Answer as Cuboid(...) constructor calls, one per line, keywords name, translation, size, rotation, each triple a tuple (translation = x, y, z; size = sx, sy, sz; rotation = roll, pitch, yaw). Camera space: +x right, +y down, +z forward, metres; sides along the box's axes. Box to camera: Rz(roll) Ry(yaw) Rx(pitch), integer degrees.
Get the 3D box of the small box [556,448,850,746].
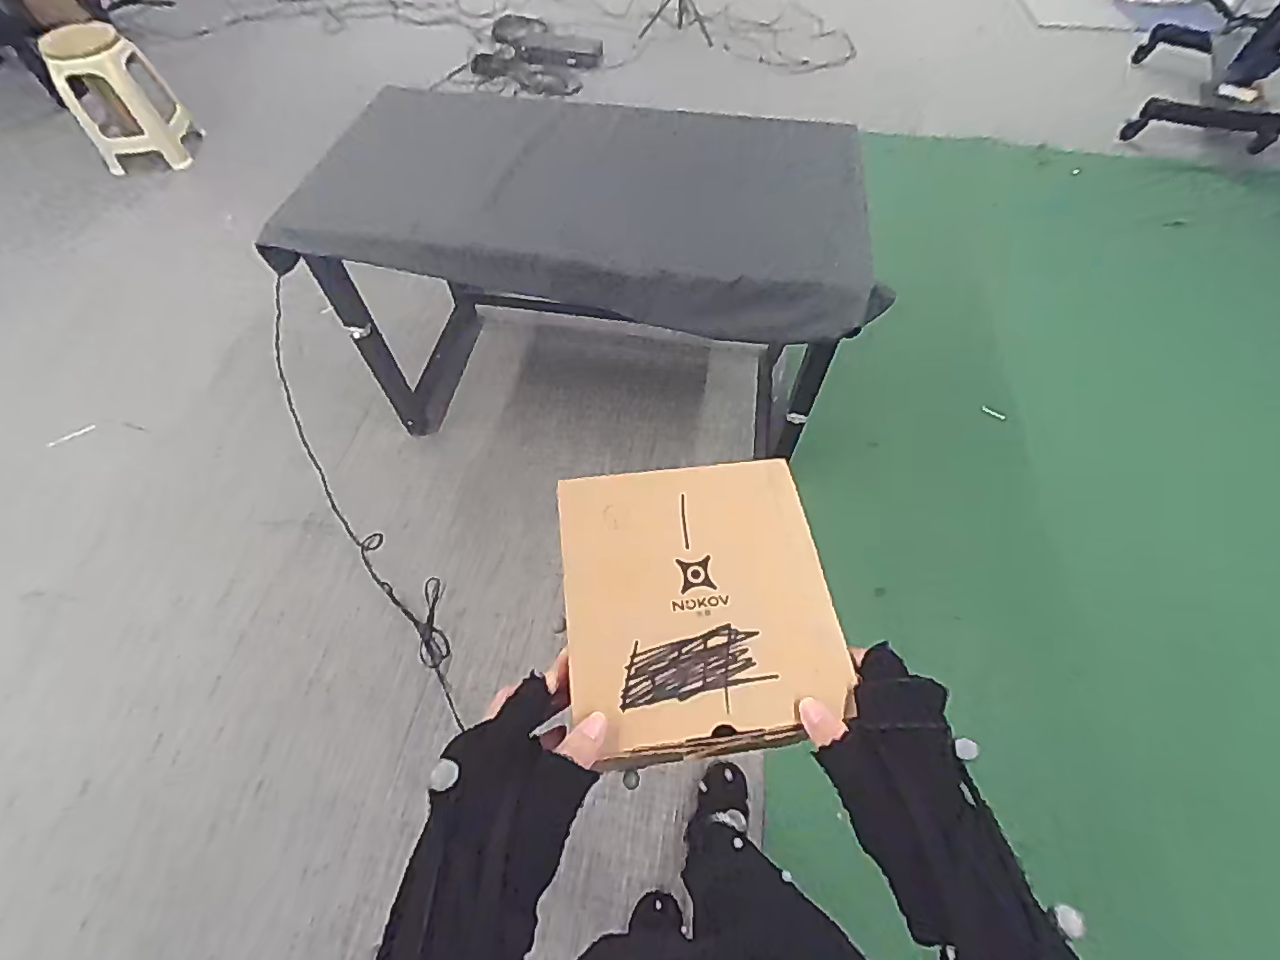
Cuboid(name="small box", translation=(0.030, 0.098, 0.413), size=(0.168, 0.176, 0.179), rotation=(-5, 60, -5))
